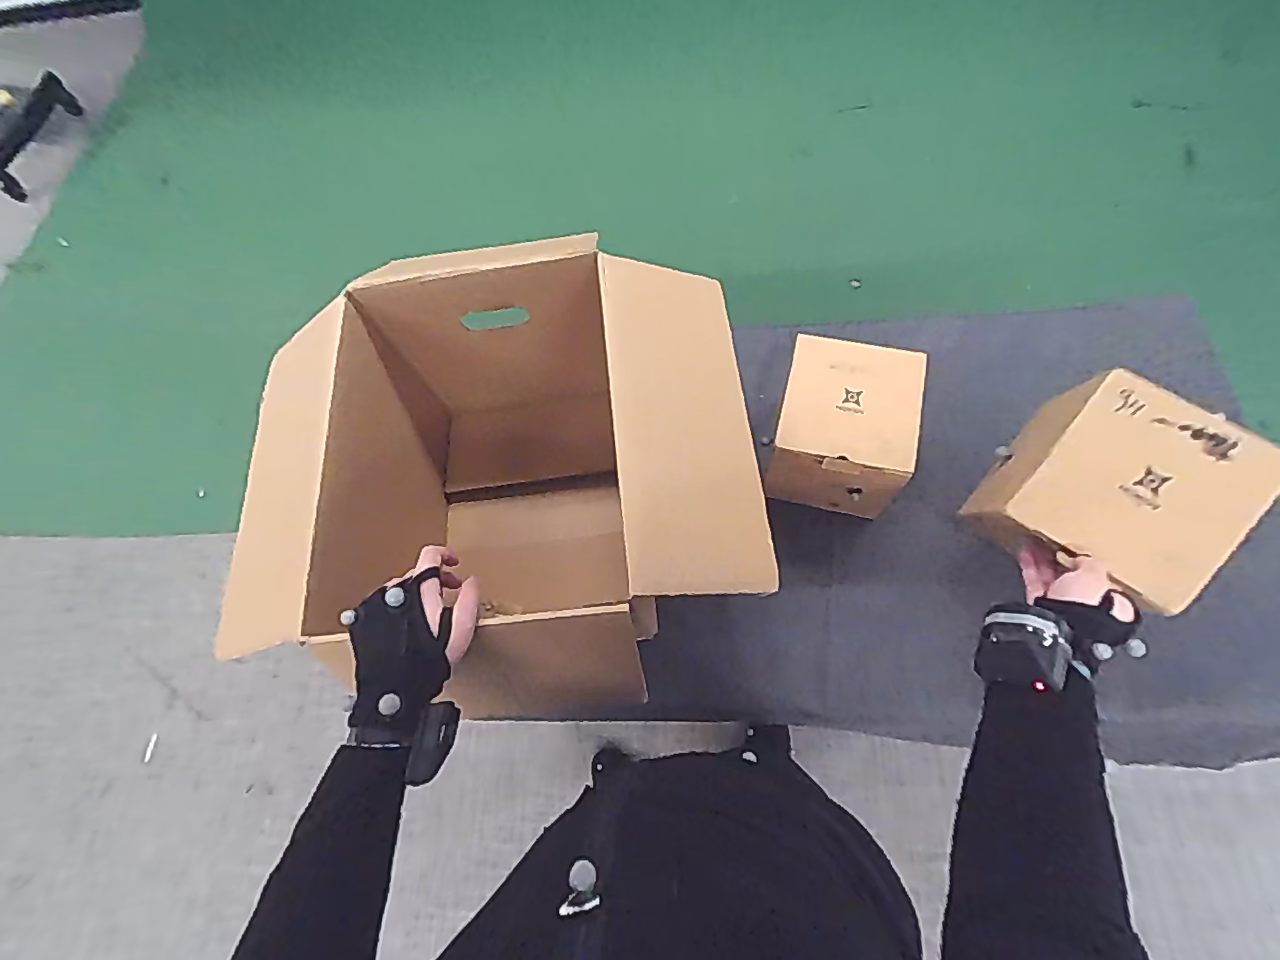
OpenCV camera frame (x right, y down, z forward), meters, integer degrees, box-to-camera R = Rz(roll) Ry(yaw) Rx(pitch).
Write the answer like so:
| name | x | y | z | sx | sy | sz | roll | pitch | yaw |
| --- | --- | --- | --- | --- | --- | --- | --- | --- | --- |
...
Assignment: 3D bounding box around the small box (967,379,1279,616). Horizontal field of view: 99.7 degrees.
| name | x | y | z | sx | sy | sz | roll | pitch | yaw |
| --- | --- | --- | --- | --- | --- | --- | --- | --- | --- |
| small box | 0.499 | 0.025 | 0.598 | 0.168 | 0.176 | 0.179 | 37 | 93 | 17 |
